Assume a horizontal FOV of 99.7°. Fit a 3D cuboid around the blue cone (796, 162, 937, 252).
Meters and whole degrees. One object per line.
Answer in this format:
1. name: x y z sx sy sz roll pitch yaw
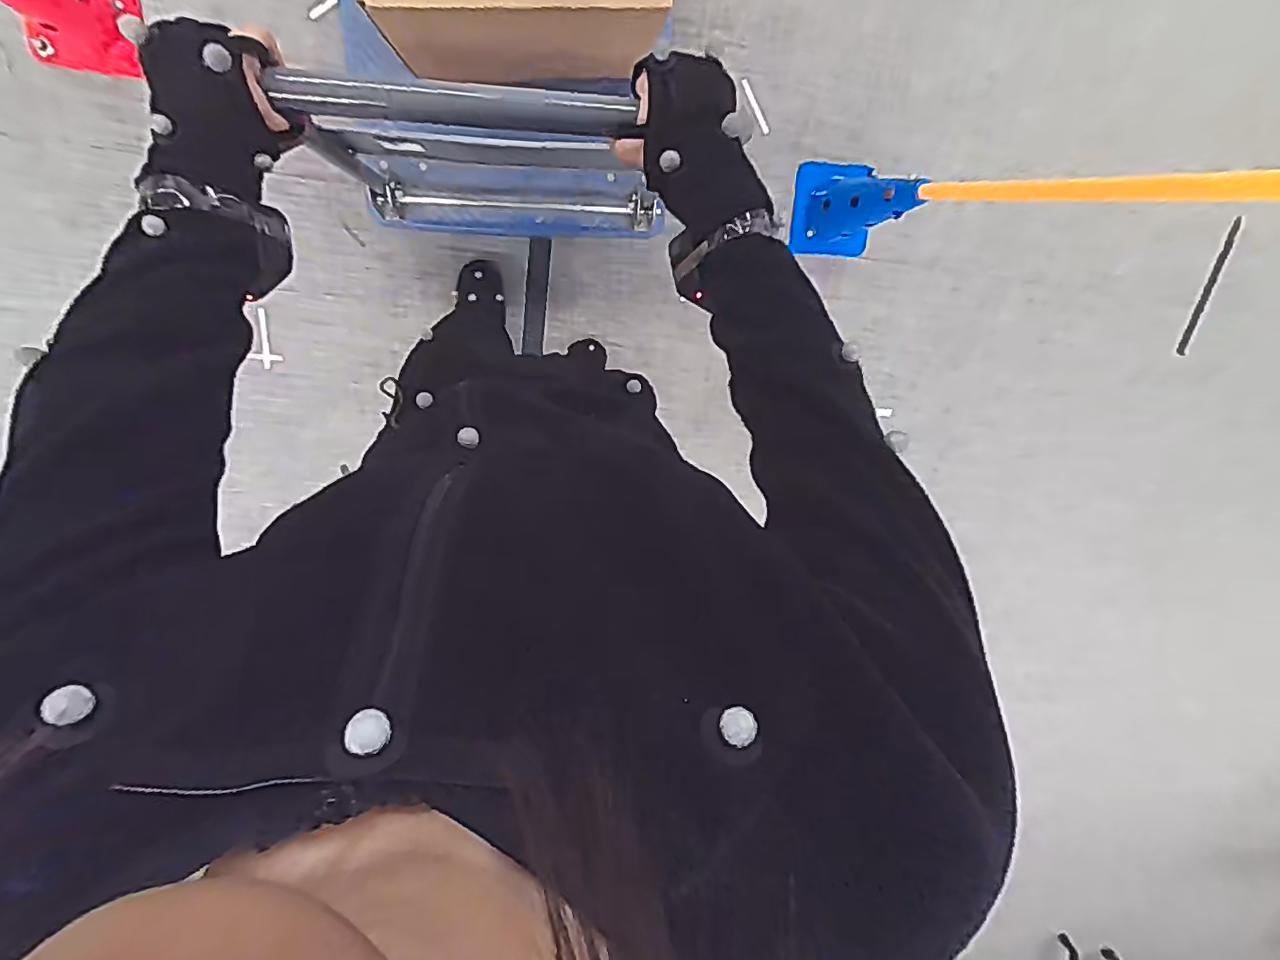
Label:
1. blue cone: 0.495 -0.597 1.150 0.193 0.380 0.192 1 110 -9
